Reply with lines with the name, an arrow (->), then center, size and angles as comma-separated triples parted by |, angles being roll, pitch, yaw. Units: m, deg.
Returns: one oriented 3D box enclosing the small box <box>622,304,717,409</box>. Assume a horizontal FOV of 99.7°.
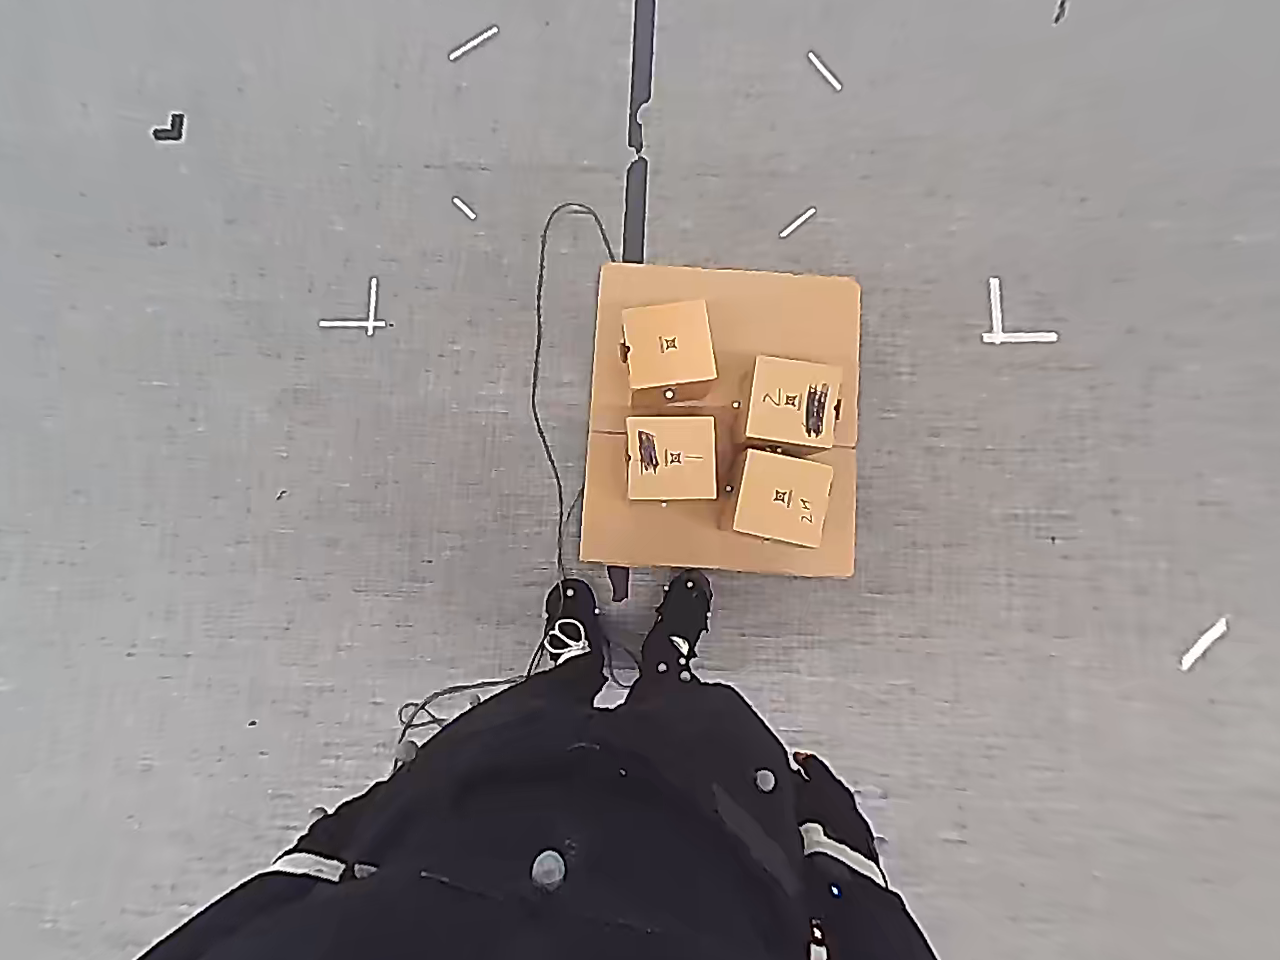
small box -> 0.057, -0.258, 1.163 | 0.179, 0.176, 0.168 | -8, 84, -1
